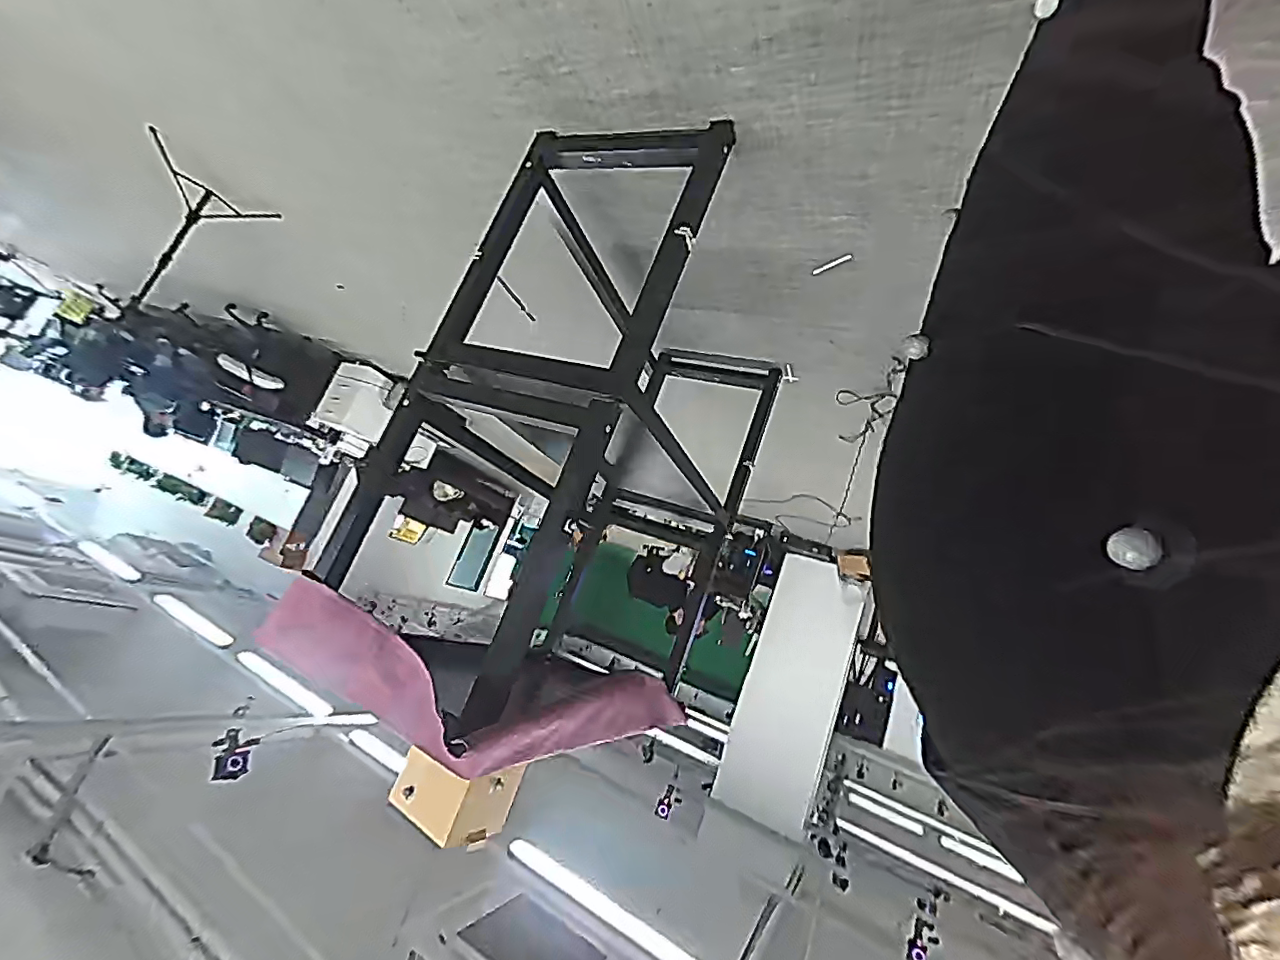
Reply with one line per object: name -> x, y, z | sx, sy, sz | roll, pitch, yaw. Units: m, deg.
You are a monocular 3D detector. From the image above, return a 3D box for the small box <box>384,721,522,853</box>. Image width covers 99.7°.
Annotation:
small box -> -0.372, 0.608, 1.100 | 0.179, 0.176, 0.168 | 14, 167, 31
